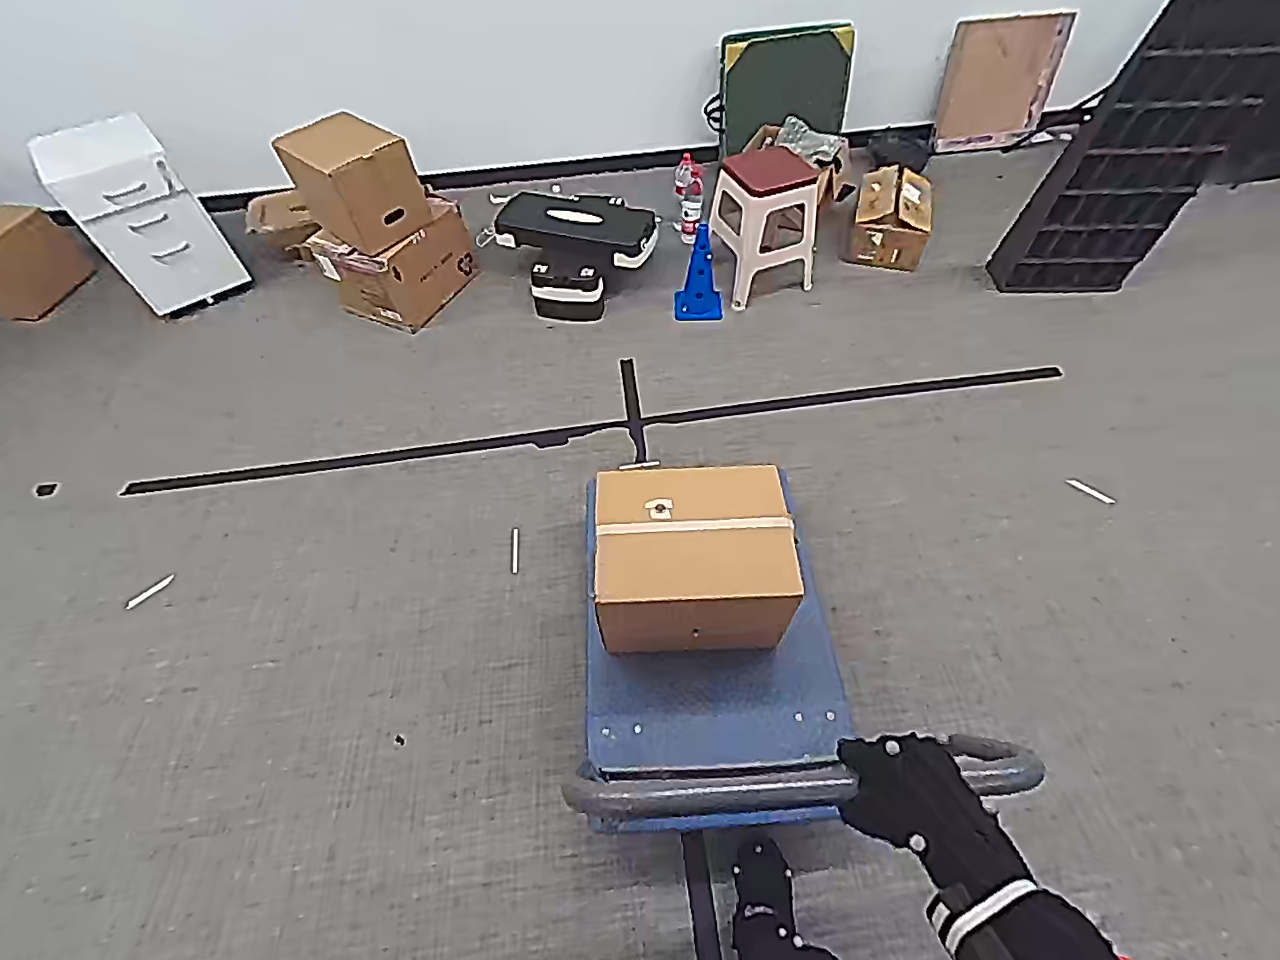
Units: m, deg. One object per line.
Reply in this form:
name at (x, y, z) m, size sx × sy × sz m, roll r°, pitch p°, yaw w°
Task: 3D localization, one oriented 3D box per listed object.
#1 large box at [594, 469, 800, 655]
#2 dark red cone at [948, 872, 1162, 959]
large box at (0.113, 0.198, 1.245) m, size 0.408 × 0.320 × 0.320 m, roll -3°, pitch 54°, yaw 1°
dark red cone at (0.730, 0.803, 0.924) m, size 0.201 × 0.394 × 0.202 m, roll -6°, pitch 54°, yaw -4°
